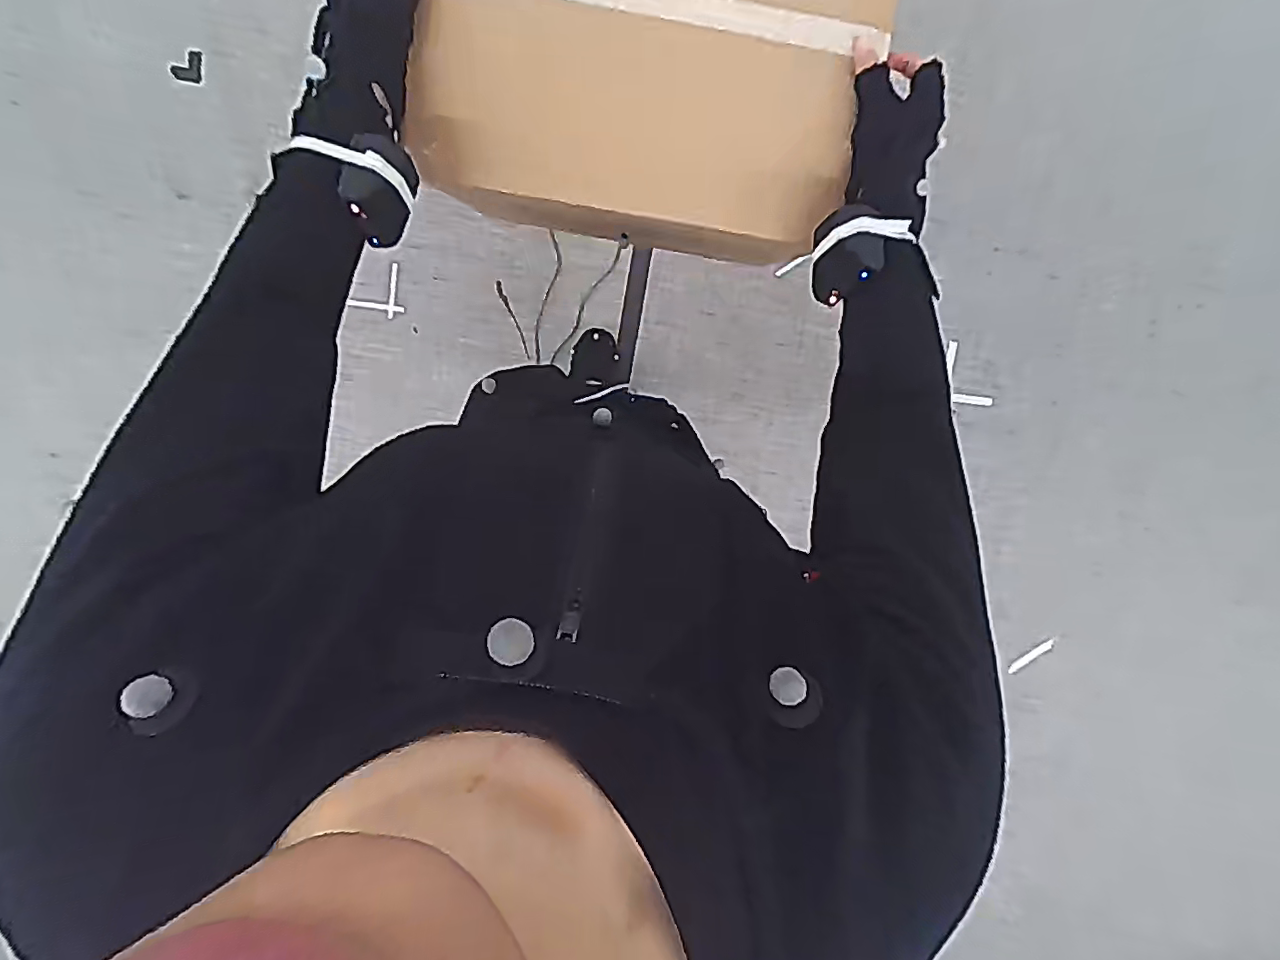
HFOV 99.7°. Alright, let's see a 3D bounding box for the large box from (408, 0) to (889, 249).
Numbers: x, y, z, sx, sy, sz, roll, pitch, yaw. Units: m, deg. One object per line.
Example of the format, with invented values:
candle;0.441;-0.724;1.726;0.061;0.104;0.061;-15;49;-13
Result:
large box;0.009;-0.452;0.591;0.408;0.320;0.320;8;108;-4
